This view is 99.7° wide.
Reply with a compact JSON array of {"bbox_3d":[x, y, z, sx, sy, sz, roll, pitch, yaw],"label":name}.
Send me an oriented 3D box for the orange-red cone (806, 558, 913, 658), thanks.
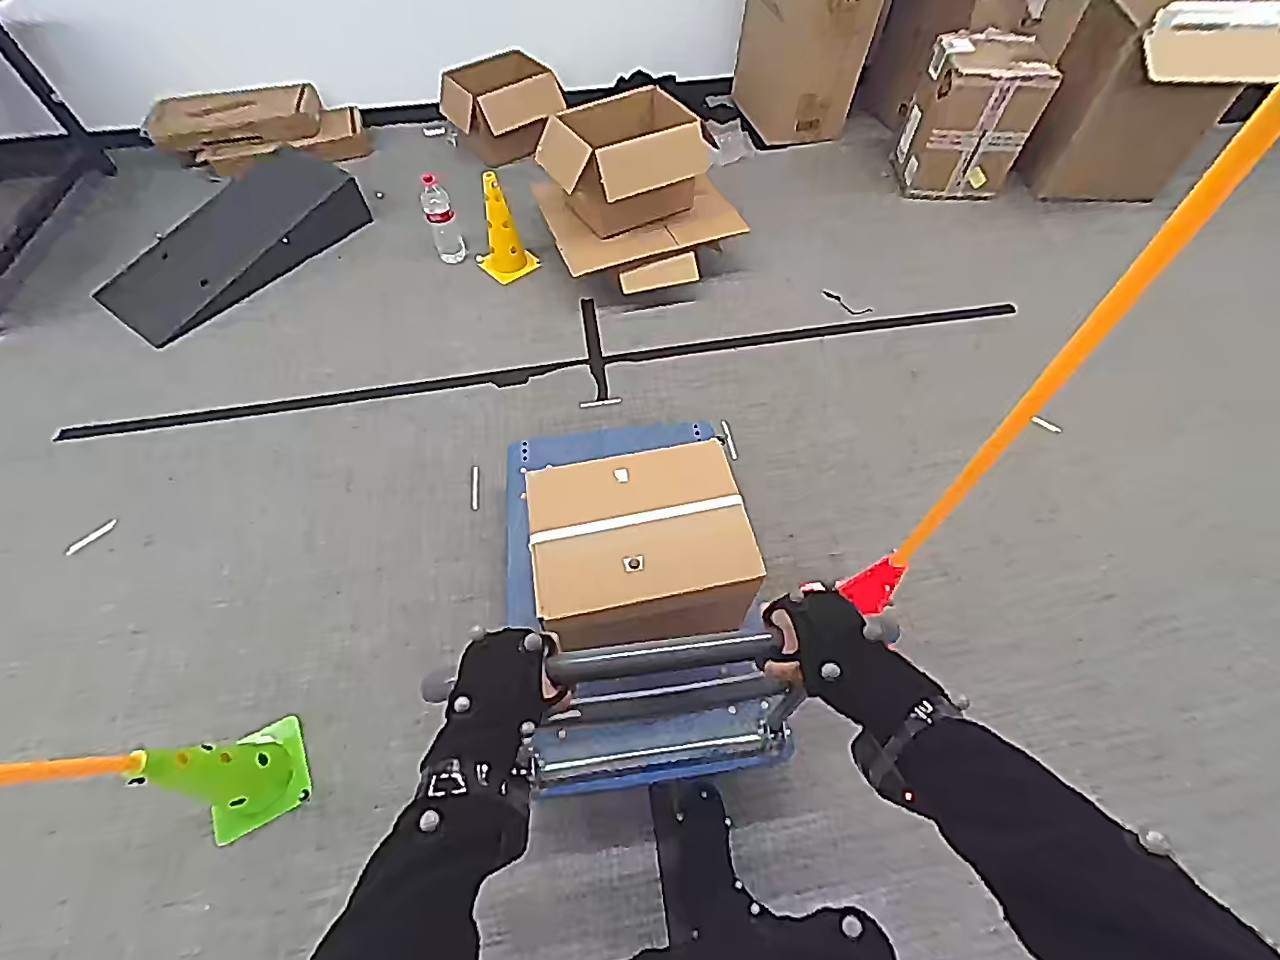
[{"bbox_3d":[0.540,0.267,1.249,0.199,0.360,0.198,-2,58,-2],"label":"orange-red cone"}]
